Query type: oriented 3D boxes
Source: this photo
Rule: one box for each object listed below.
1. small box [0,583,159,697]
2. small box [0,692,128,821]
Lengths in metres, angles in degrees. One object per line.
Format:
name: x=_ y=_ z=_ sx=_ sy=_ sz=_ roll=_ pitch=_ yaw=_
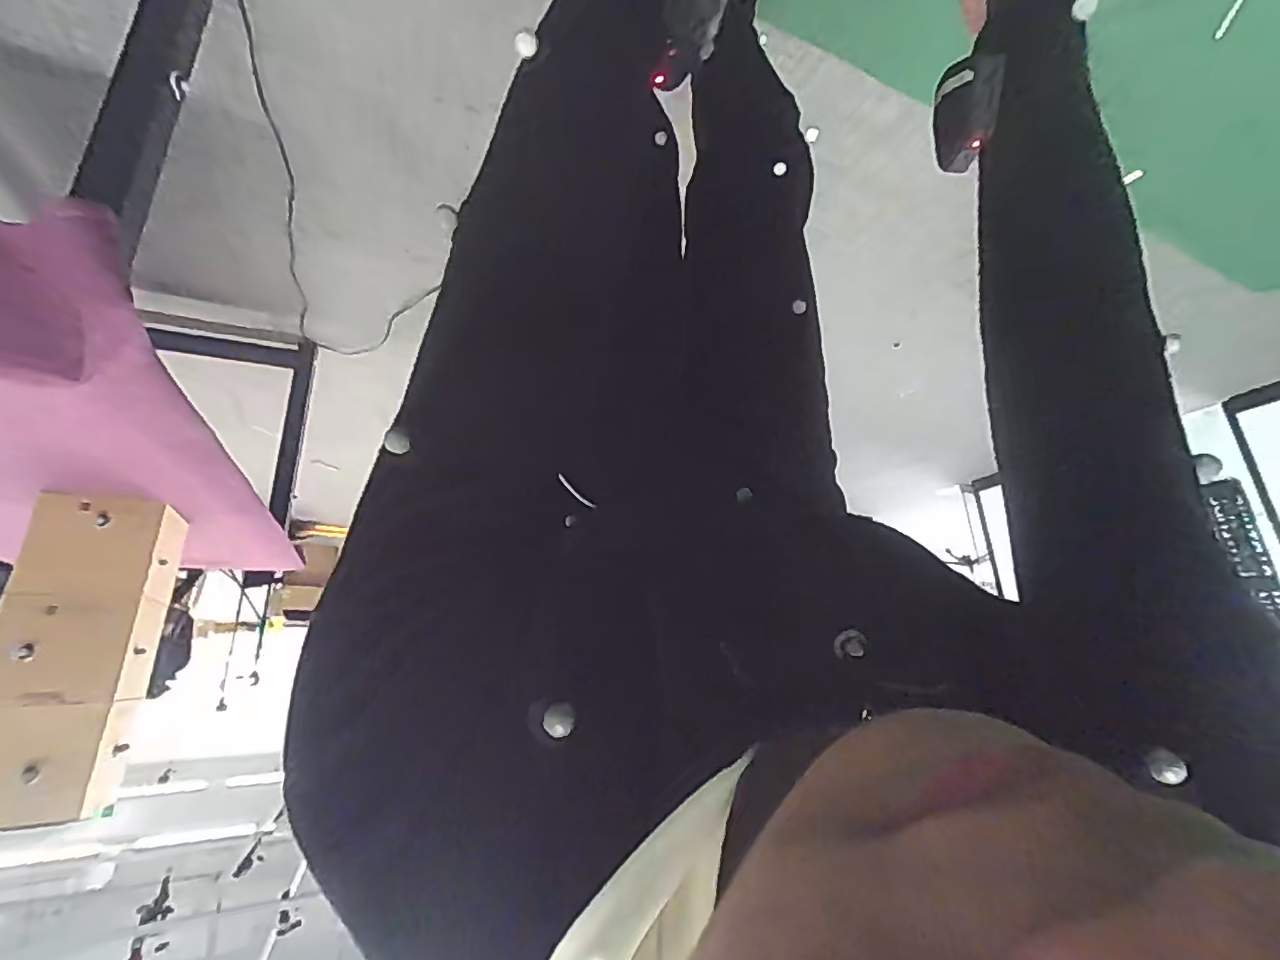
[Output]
small box: x=-0.946 y=0.267 z=0.902 sx=0.168 sy=0.176 sz=0.179 roll=9 pitch=159 yaw=-27
small box: x=-0.947 y=0.421 z=0.846 sx=0.179 sy=0.176 sz=0.168 roll=8 pitch=158 yaw=-27
